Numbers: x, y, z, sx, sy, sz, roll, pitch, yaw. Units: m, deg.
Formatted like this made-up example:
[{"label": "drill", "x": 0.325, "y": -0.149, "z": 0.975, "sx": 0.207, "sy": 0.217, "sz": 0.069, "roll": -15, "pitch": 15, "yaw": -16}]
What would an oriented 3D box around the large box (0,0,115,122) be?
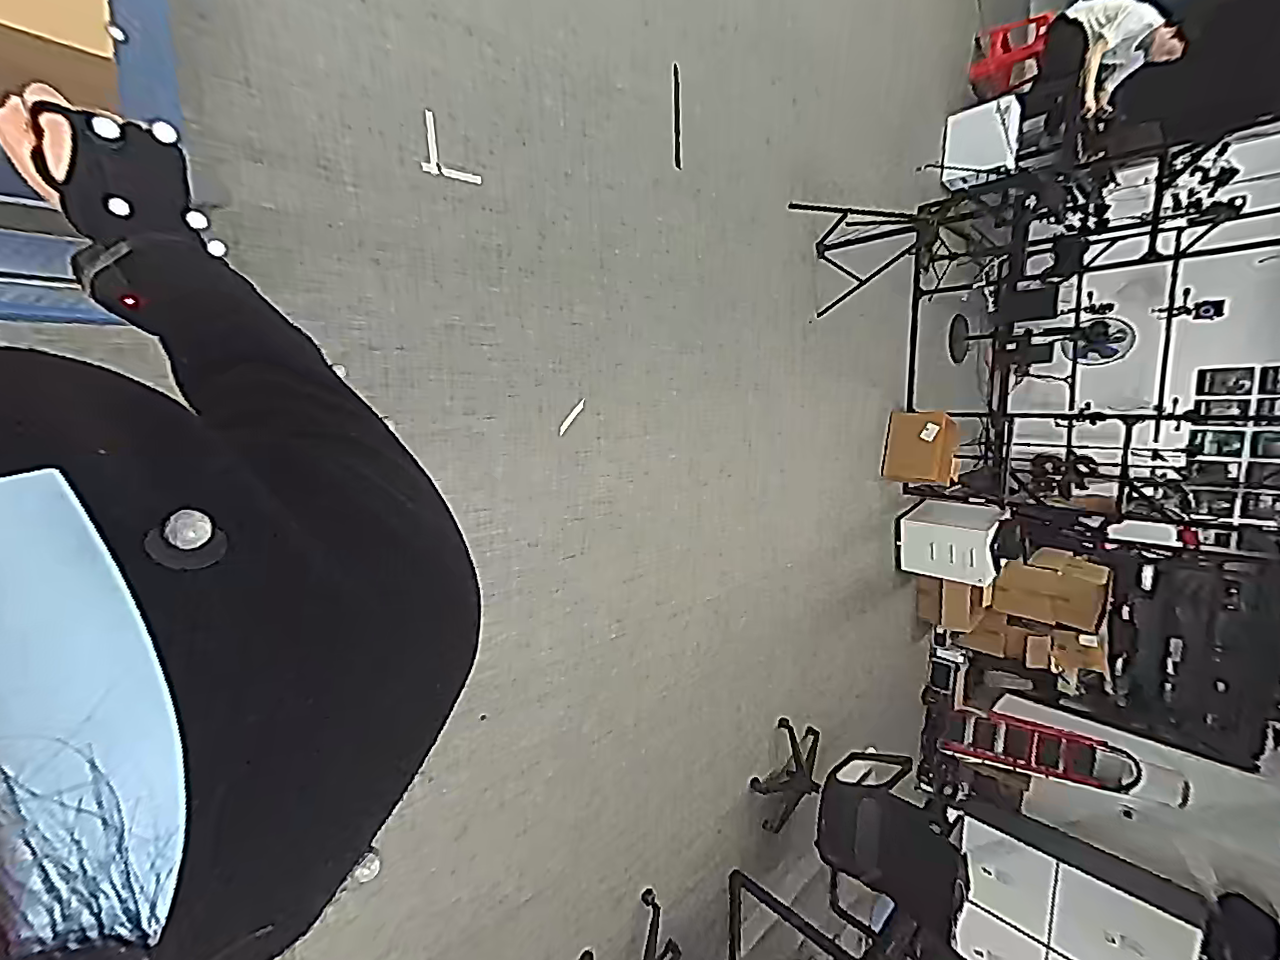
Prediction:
[{"label": "large box", "x": -0.953, "y": -0.726, "z": 0.673, "sx": 0.408, "sy": 0.320, "sz": 0.320, "roll": -6, "pitch": 99, "yaw": -43}]
